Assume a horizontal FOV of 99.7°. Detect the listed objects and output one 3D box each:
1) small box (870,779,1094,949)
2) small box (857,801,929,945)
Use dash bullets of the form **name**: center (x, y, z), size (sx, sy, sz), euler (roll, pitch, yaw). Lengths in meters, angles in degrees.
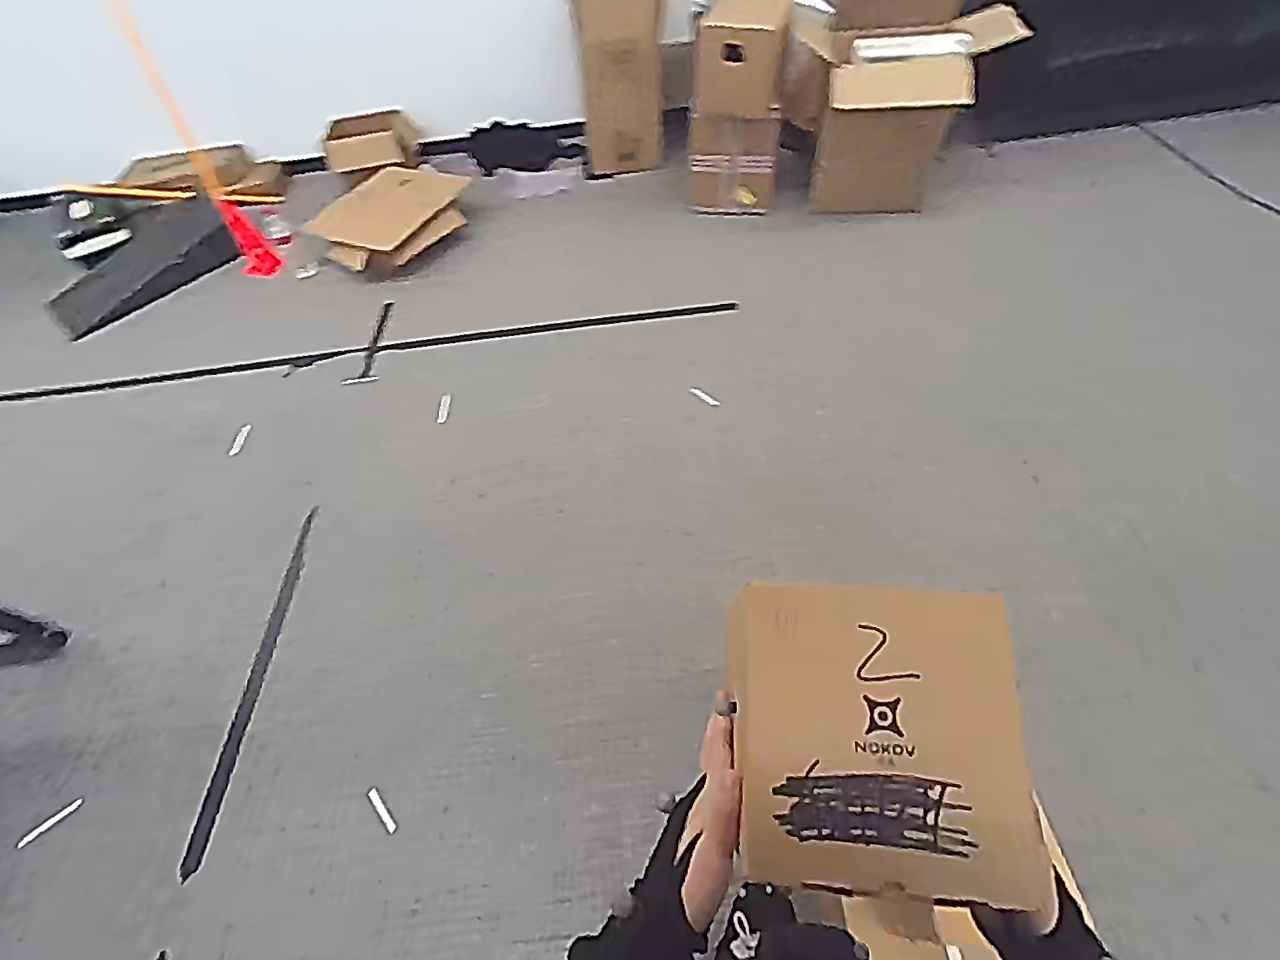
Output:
- **small box**: center (0.437, 0.511, 0.729), size (0.179, 0.176, 0.168), euler (-7, 53, 4)
- **small box**: center (0.462, 0.610, 0.855), size (0.168, 0.176, 0.179), euler (-8, 54, 3)
